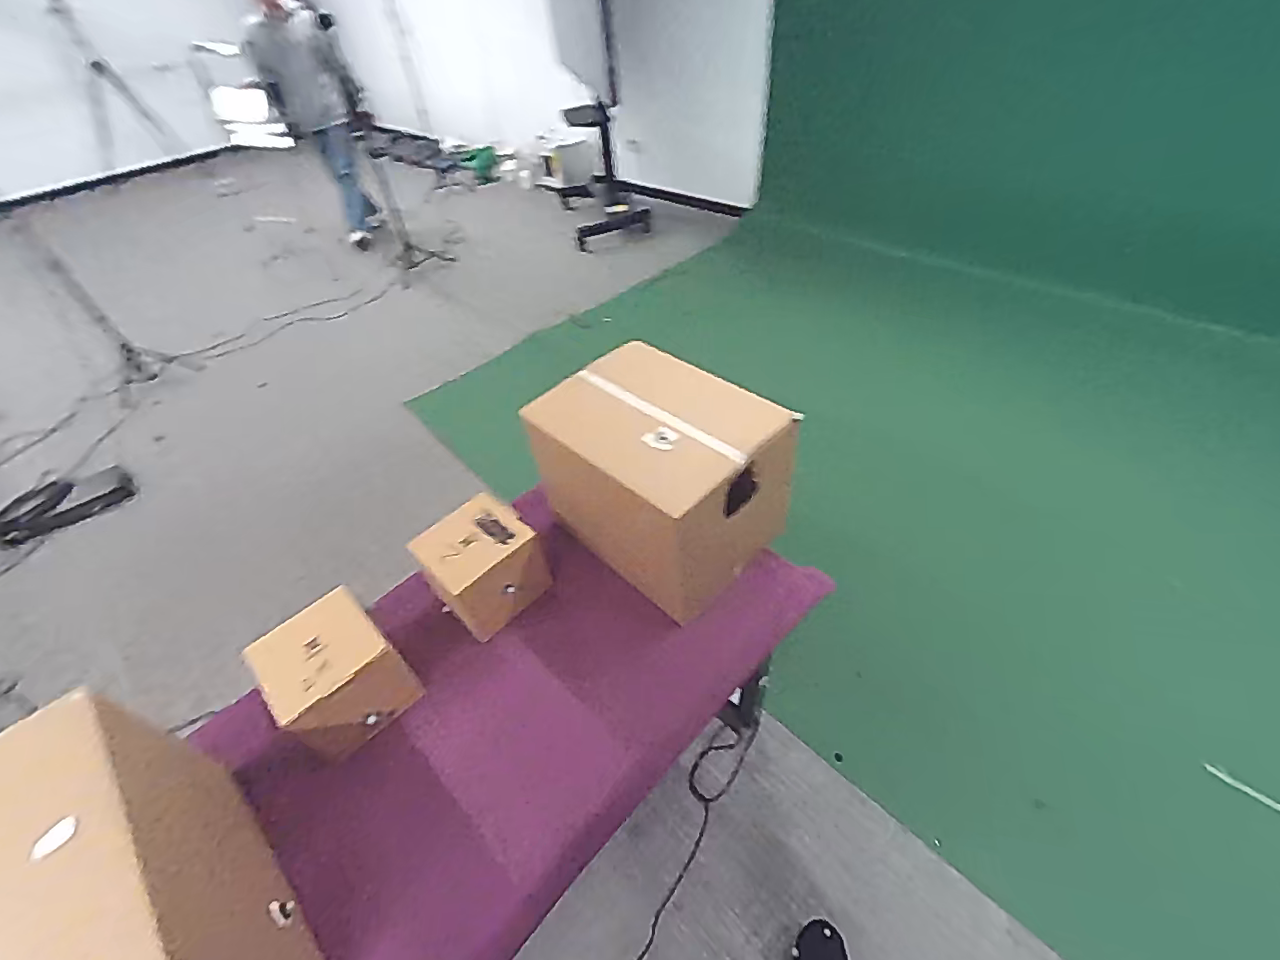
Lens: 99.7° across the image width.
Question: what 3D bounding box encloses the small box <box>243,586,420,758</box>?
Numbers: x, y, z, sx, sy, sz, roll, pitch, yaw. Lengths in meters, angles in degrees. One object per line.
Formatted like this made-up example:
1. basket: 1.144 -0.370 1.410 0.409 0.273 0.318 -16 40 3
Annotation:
1. small box: -0.499 0.317 0.891 0.168 0.176 0.179 -38 53 -27

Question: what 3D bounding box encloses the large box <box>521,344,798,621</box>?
1. large box: 0.036 -0.009 1.062 0.408 0.320 0.320 33 58 32
